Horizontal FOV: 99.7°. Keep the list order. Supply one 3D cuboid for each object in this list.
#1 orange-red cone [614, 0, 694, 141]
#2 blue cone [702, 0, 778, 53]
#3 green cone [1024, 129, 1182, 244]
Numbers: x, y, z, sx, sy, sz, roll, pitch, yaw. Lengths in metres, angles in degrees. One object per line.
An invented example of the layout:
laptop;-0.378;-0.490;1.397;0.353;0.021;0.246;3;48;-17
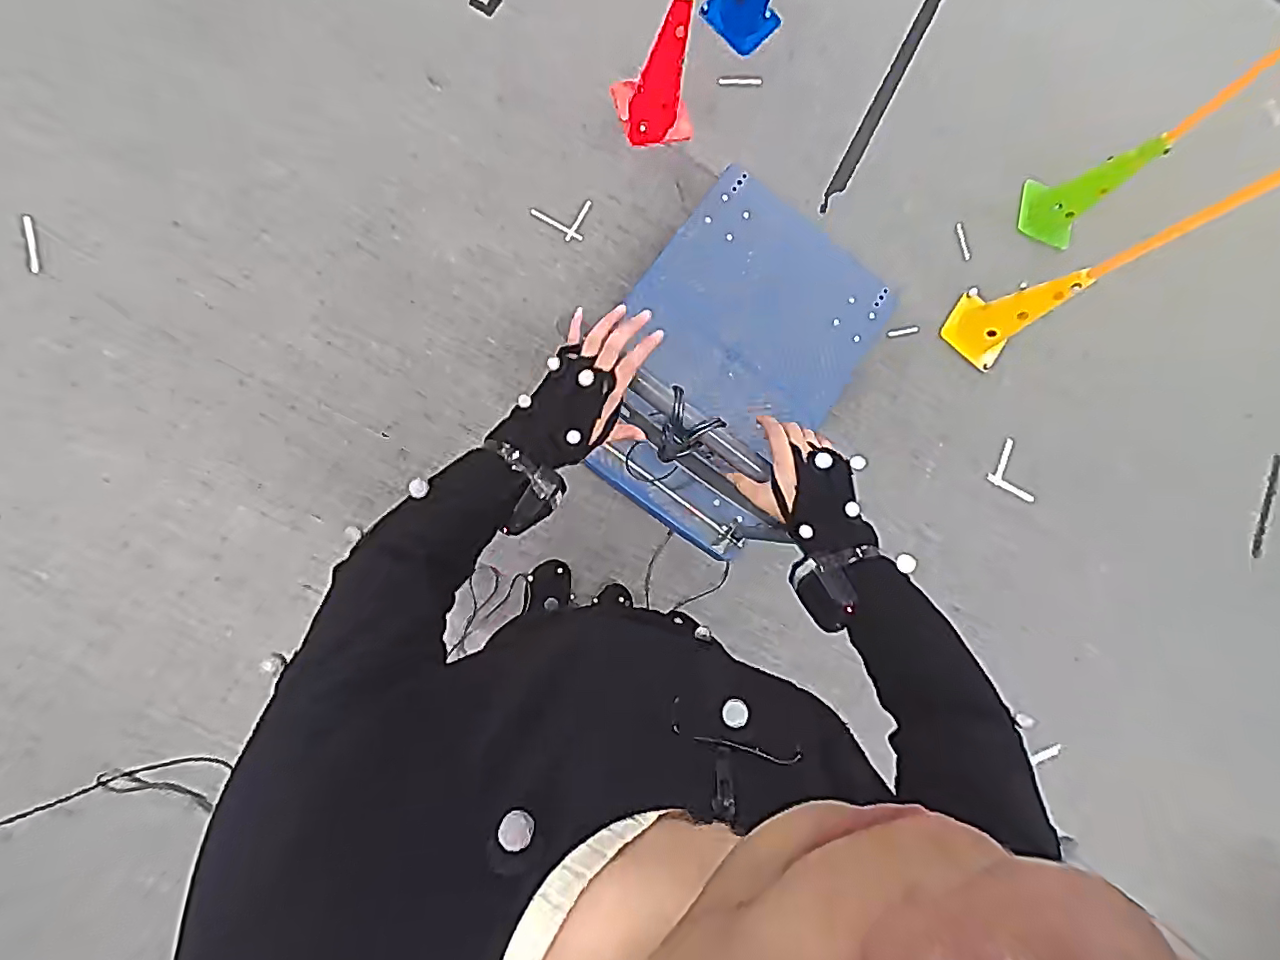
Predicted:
orange-red cone;0.074;-1.085;1.377;0.199;0.360;0.198;-16;88;-14
blue cone;0.337;-1.426;1.481;0.193;0.380;0.192;43;79;-4
green cone;1.390;-0.906;1.611;0.200;0.368;0.202;15;82;-9
